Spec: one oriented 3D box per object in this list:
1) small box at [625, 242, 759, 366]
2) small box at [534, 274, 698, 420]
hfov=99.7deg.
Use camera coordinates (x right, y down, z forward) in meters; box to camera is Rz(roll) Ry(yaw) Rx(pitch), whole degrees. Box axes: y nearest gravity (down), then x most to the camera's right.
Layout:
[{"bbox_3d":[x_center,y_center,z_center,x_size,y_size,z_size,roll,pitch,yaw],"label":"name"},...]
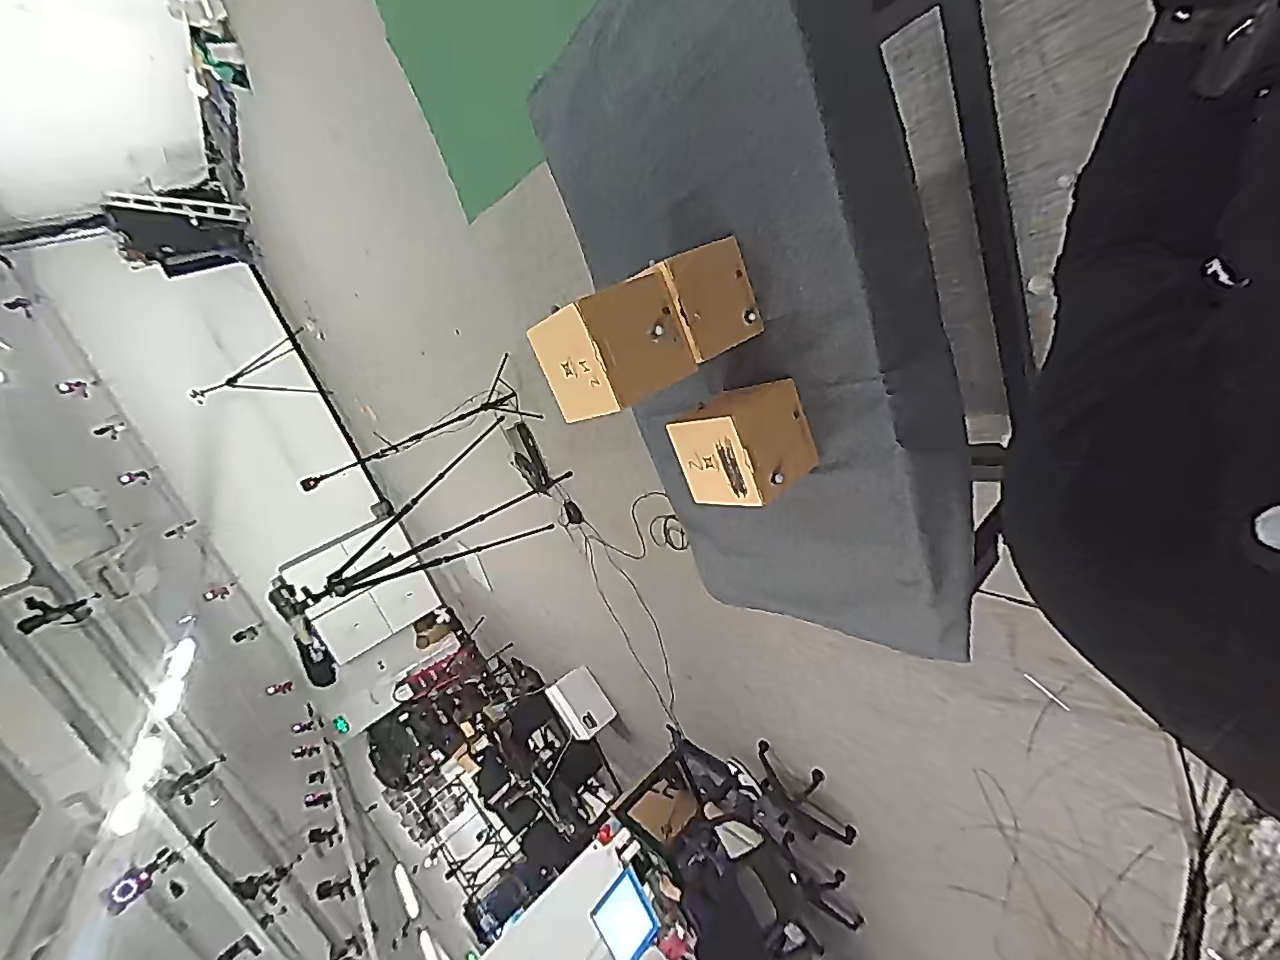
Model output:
[{"bbox_3d":[0.086,-0.295,0.945,0.179,0.176,0.168,1,117,56],"label":"small box"},{"bbox_3d":[-0.038,-0.211,0.876,0.179,0.176,0.168,-3,115,55],"label":"small box"}]
